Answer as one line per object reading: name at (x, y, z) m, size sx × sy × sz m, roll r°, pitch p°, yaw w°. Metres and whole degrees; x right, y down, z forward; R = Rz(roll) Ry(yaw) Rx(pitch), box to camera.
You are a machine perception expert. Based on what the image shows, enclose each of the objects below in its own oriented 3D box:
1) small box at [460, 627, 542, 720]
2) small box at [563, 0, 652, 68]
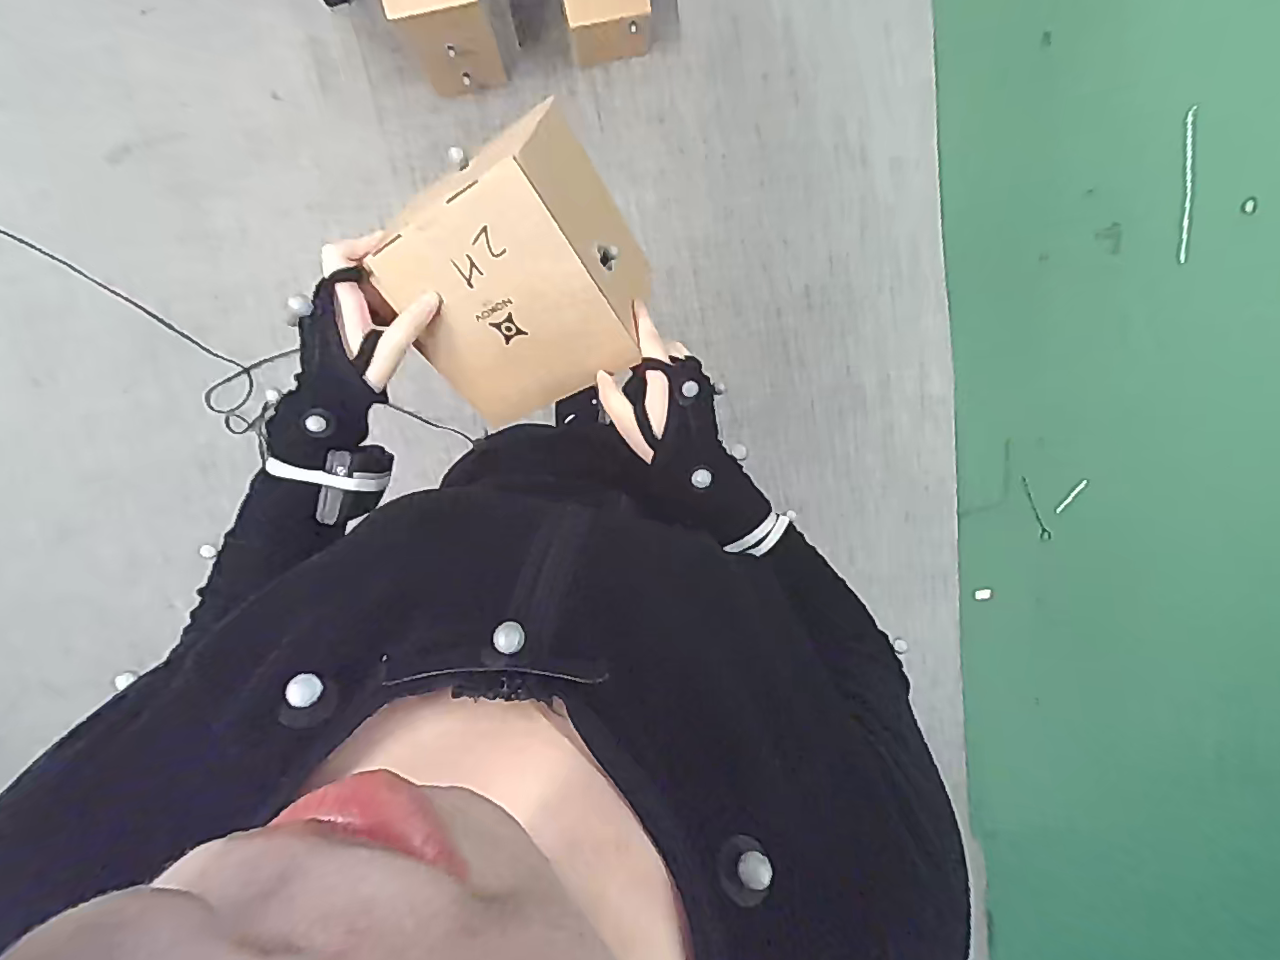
small box at (-0.382, 0.540, 1.530) m, size 0.179 × 0.176 × 0.168 m, roll -14°, pitch 103°, yaw 1°
small box at (-0.076, -1.039, 1.178) m, size 0.179 × 0.176 × 0.168 m, roll -12°, pitch 104°, yaw 0°
